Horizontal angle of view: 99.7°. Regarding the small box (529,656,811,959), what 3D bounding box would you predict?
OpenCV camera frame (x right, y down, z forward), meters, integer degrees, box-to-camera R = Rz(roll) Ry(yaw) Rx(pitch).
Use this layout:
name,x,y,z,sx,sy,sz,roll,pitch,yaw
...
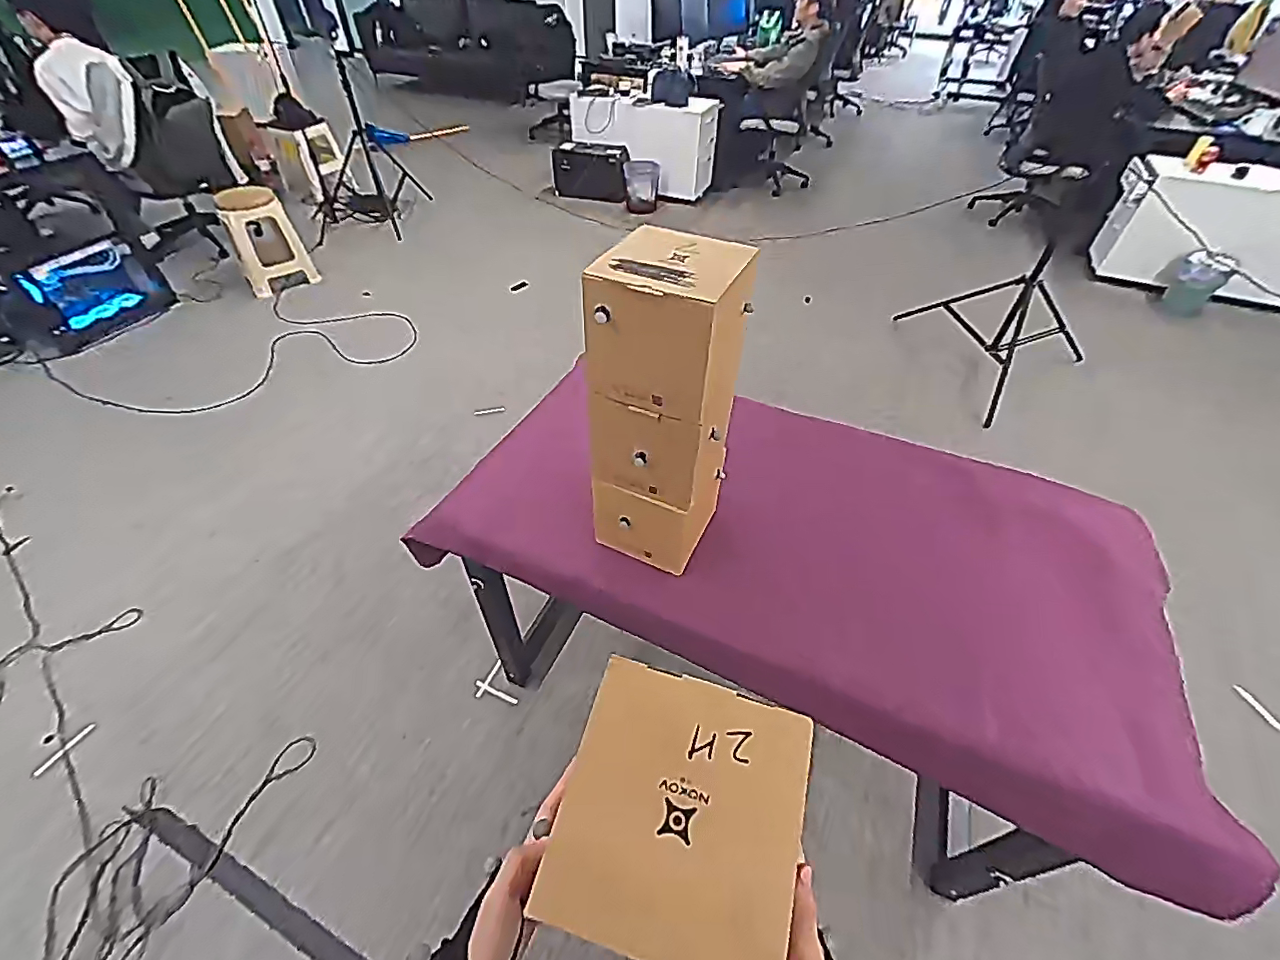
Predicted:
name,x,y,z,sx,sy,sz,roll,pitch,yaw
small box,0.029,0.278,0.449,0.168,0.176,0.179,15,56,9

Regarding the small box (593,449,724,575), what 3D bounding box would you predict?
name,x,y,z,sx,sy,sz,roll,pitch,yaw
small box,0.033,0.036,0.946,0.168,0.176,0.179,20,48,17

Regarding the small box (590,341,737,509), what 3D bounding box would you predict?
name,x,y,z,sx,sy,sz,roll,pitch,yaw
small box,0.038,-0.083,0.833,0.168,0.176,0.179,19,48,15
